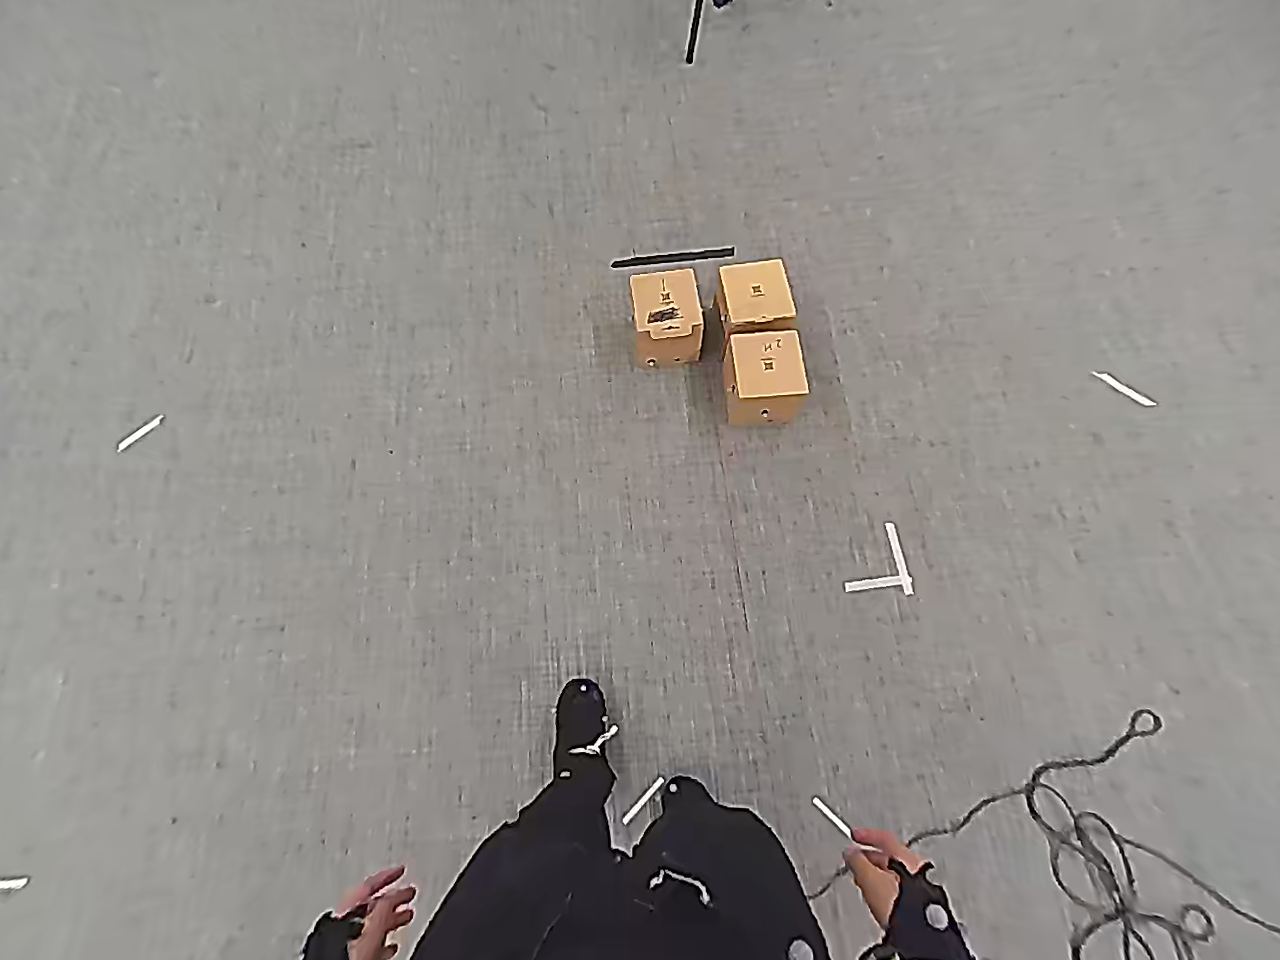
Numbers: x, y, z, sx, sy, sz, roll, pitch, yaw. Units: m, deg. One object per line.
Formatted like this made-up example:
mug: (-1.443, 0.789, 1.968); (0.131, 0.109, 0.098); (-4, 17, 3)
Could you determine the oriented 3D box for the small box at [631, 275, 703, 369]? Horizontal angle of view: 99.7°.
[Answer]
small box: (0.069, -0.408, 1.424); (0.168, 0.176, 0.179); (-7, 70, -1)
